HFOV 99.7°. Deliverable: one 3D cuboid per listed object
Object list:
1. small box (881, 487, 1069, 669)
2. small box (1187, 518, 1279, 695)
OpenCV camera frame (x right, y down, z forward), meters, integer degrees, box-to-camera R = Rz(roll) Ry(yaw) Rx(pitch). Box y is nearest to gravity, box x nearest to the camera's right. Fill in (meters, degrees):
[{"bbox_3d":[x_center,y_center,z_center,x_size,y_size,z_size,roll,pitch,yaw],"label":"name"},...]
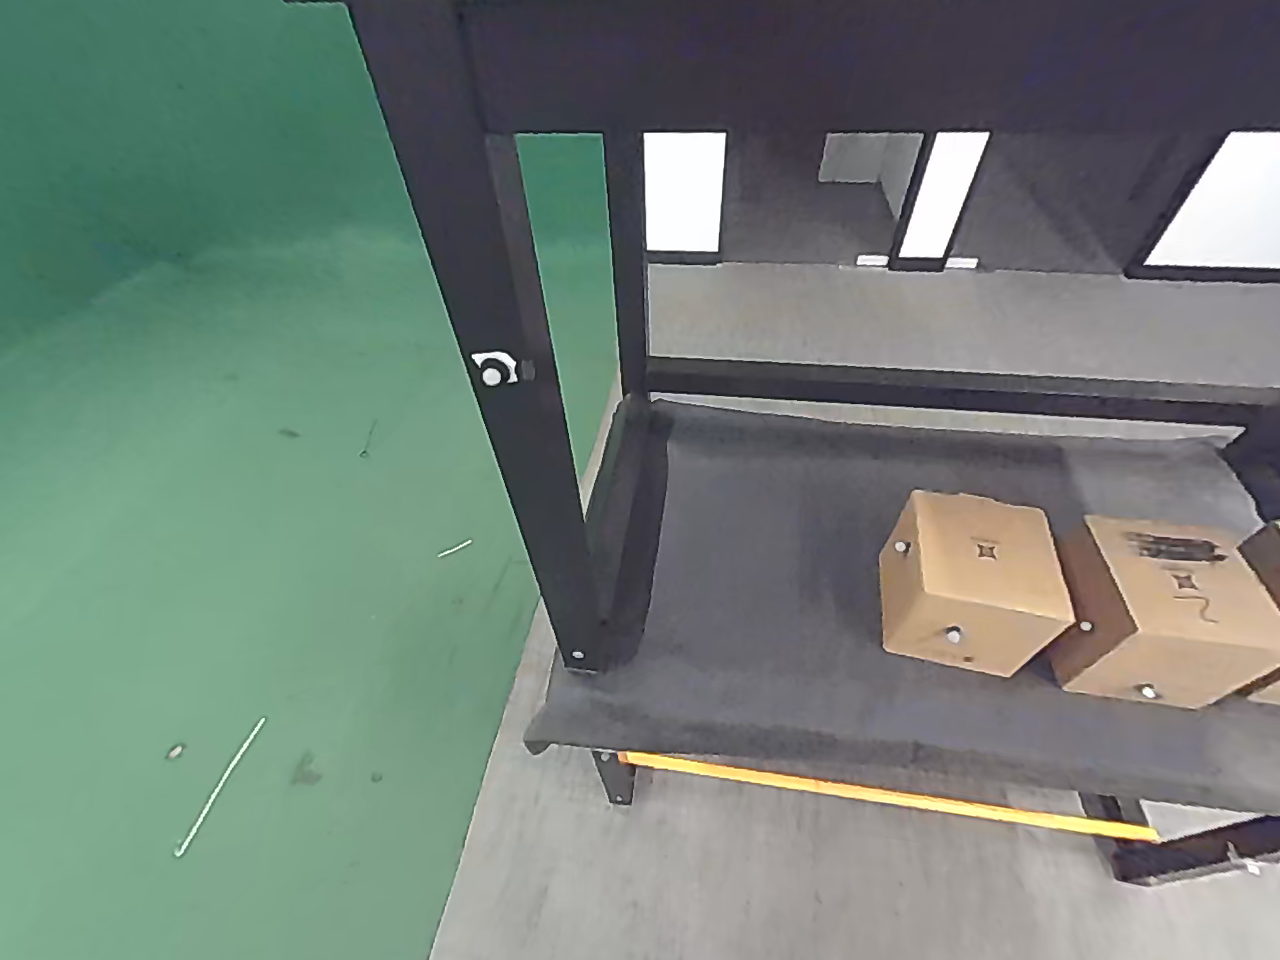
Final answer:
[{"bbox_3d":[0.446,0.138,0.755,0.168,0.176,0.179,10,49,12],"label":"small box"},{"bbox_3d":[0.882,0.175,0.693,0.168,0.176,0.179,7,48,9],"label":"small box"}]
